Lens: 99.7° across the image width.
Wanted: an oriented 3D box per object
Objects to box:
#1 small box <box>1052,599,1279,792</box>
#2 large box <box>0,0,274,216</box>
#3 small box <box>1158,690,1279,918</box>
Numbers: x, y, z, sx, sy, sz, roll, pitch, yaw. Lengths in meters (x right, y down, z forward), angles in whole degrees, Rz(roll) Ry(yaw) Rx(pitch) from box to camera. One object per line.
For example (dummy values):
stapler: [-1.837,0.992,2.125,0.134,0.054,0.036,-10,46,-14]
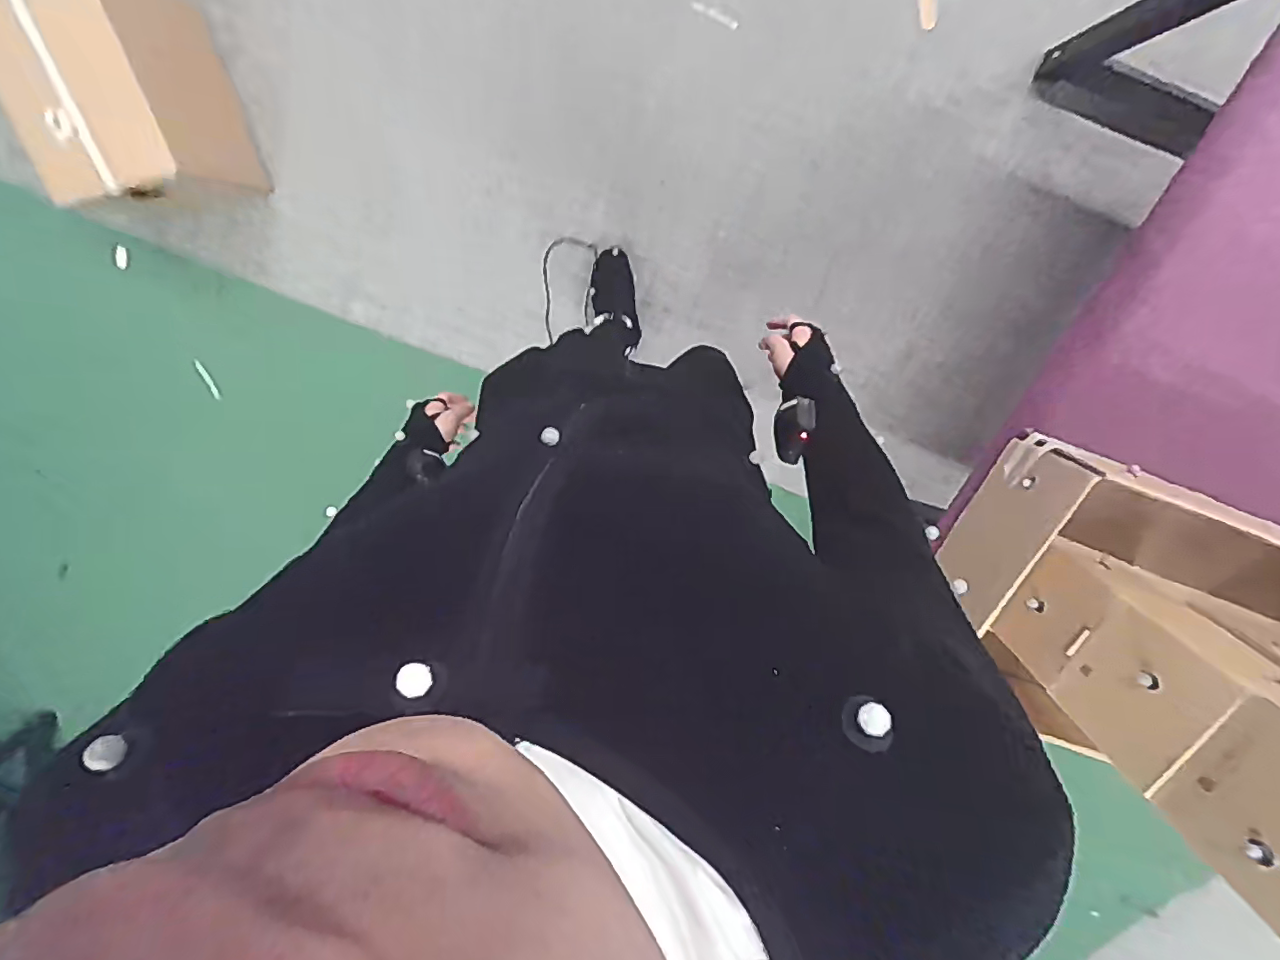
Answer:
small box: [0.669,0.270,0.661,0.179,0.176,0.168,18,111,-6]
large box: [-1.158,-0.860,1.237,0.320,0.320,0.408,-10,113,8]
small box: [0.670,0.329,0.509,0.179,0.176,0.168,17,112,-7]
